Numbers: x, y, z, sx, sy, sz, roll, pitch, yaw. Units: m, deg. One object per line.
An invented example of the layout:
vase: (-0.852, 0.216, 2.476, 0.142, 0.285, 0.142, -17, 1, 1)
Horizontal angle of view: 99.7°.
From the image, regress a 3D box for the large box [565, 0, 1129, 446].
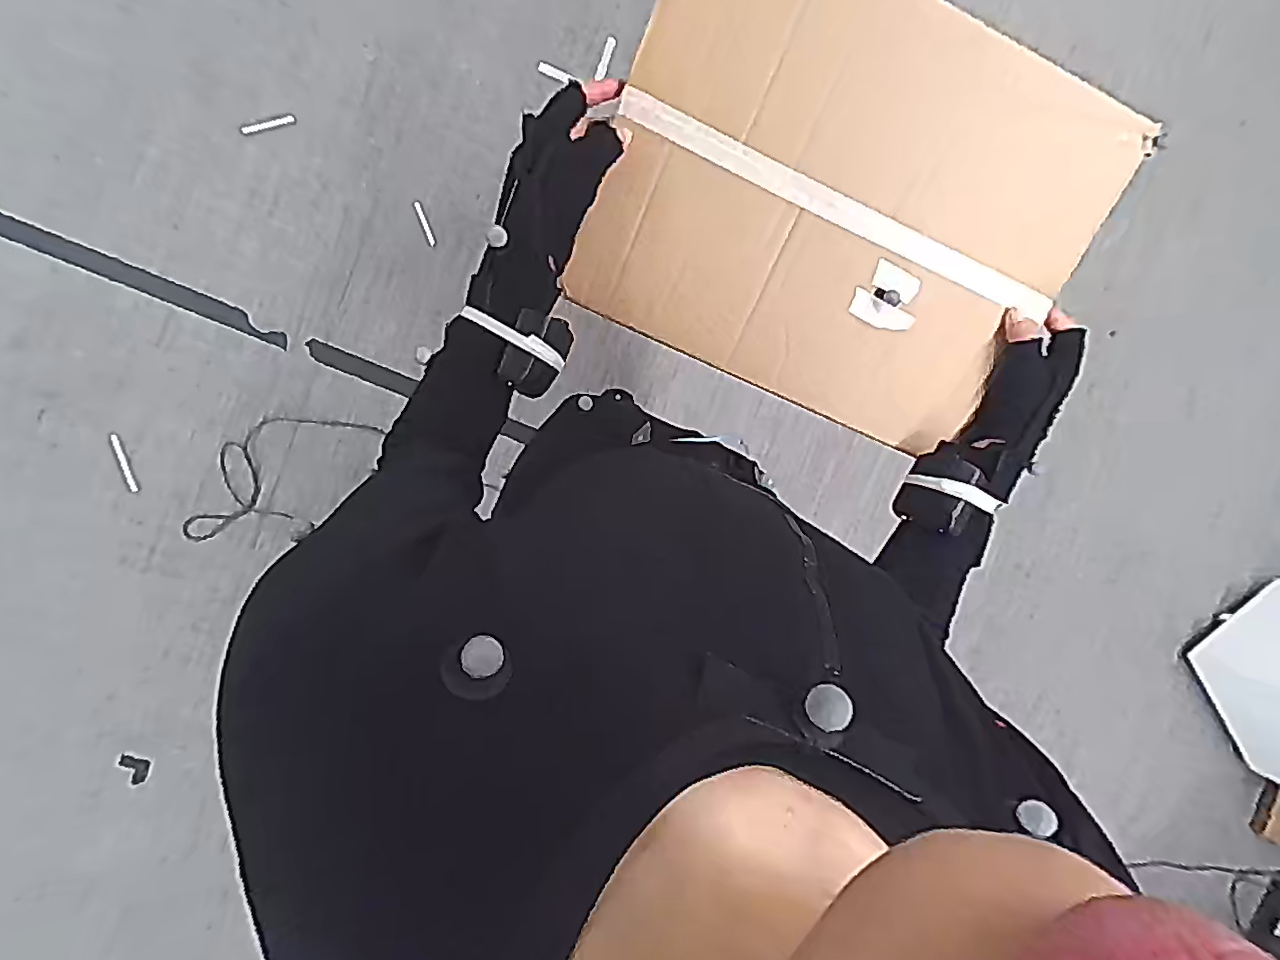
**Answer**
large box: (0.167, -0.283, 0.608, 0.408, 0.320, 0.320, 23, 108, -8)
